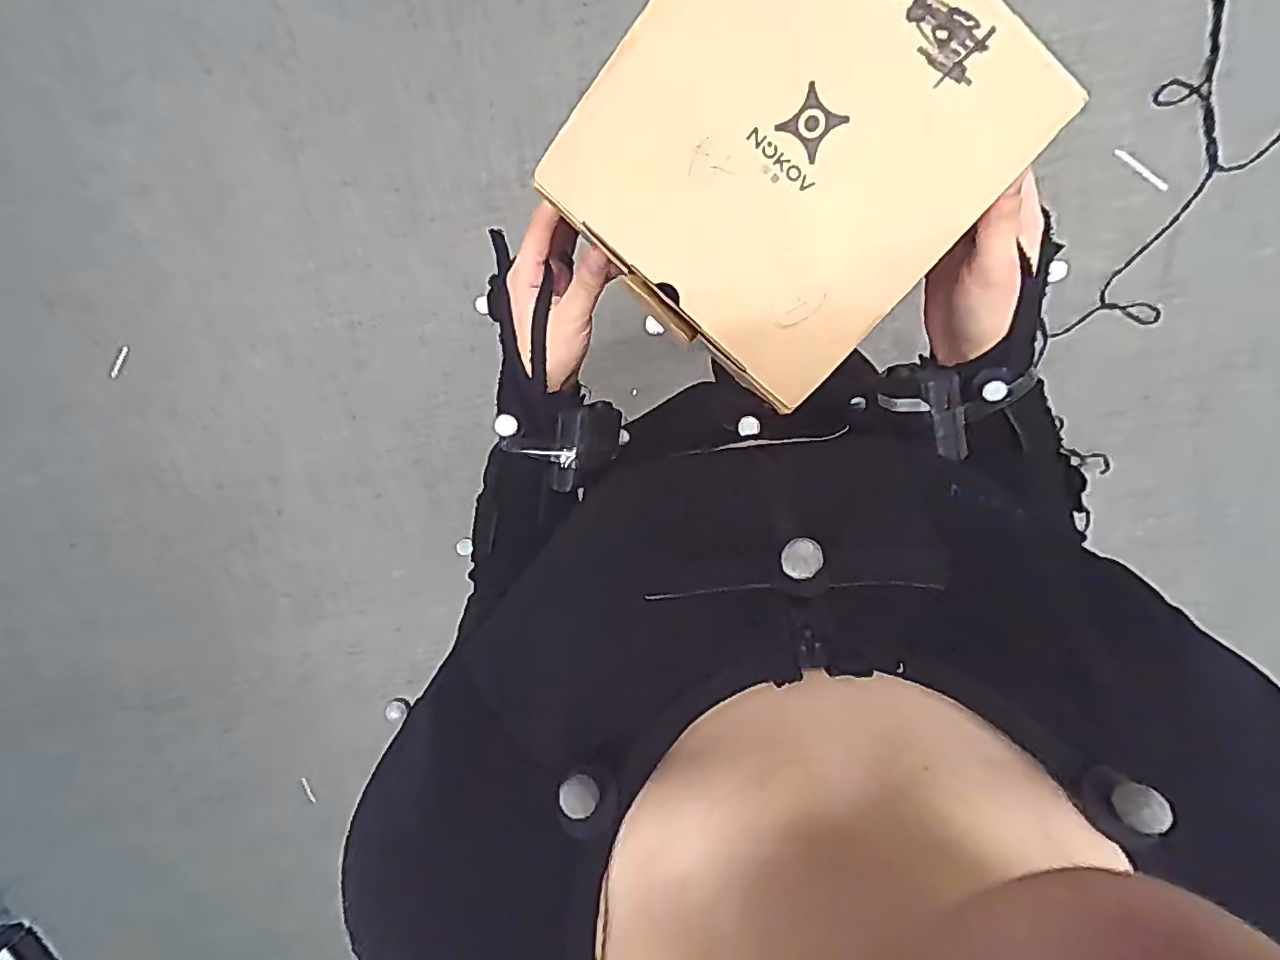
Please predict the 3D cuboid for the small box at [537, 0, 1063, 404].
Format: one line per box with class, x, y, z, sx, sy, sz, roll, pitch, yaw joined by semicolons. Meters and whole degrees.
small box;0.073;-0.170;0.319;0.168;0.176;0.179;40;105;-6
